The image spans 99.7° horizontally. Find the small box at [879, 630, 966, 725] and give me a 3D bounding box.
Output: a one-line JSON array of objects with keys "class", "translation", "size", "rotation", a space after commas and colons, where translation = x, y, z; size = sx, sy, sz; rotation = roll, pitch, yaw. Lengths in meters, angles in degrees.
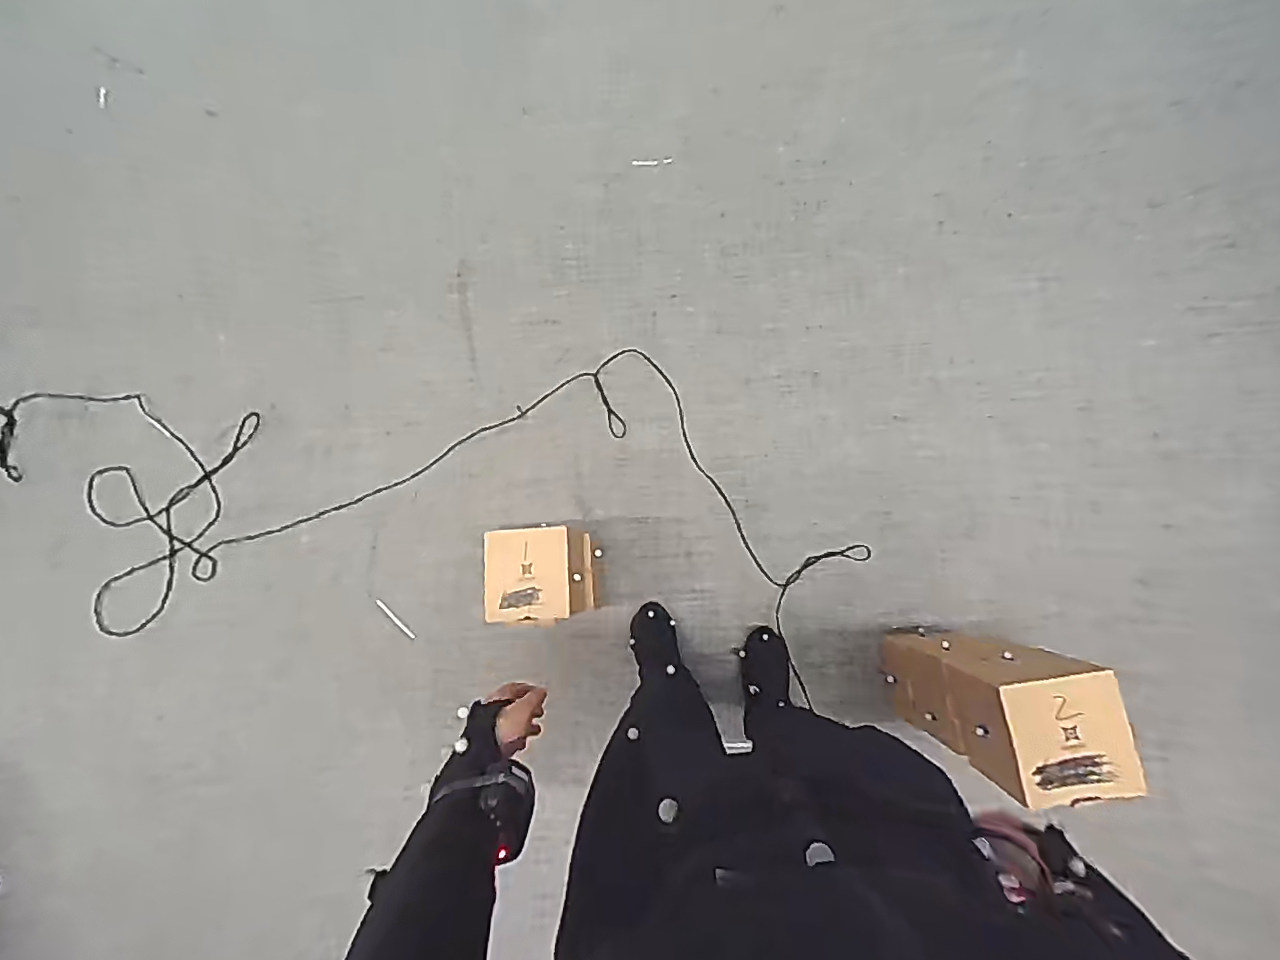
[{"class": "small box", "translation": [0.642, 0.427, 1.188], "size": [0.179, 0.176, 0.168], "rotation": [-4, 83, 4]}]

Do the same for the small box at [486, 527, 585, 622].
[{"class": "small box", "translation": [-0.210, 0.192, 1.117], "size": [0.168, 0.176, 0.179], "rotation": [-4, 81, 4]}]

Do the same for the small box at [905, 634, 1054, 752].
[{"class": "small box", "translation": [0.628, 0.396, 1.029], "size": [0.179, 0.176, 0.168], "rotation": [-7, 83, 2]}]

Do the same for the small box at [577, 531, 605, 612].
[{"class": "small box", "translation": [-0.179, 0.219, 1.277], "size": [0.168, 0.176, 0.179], "rotation": [-5, 82, 5]}]
